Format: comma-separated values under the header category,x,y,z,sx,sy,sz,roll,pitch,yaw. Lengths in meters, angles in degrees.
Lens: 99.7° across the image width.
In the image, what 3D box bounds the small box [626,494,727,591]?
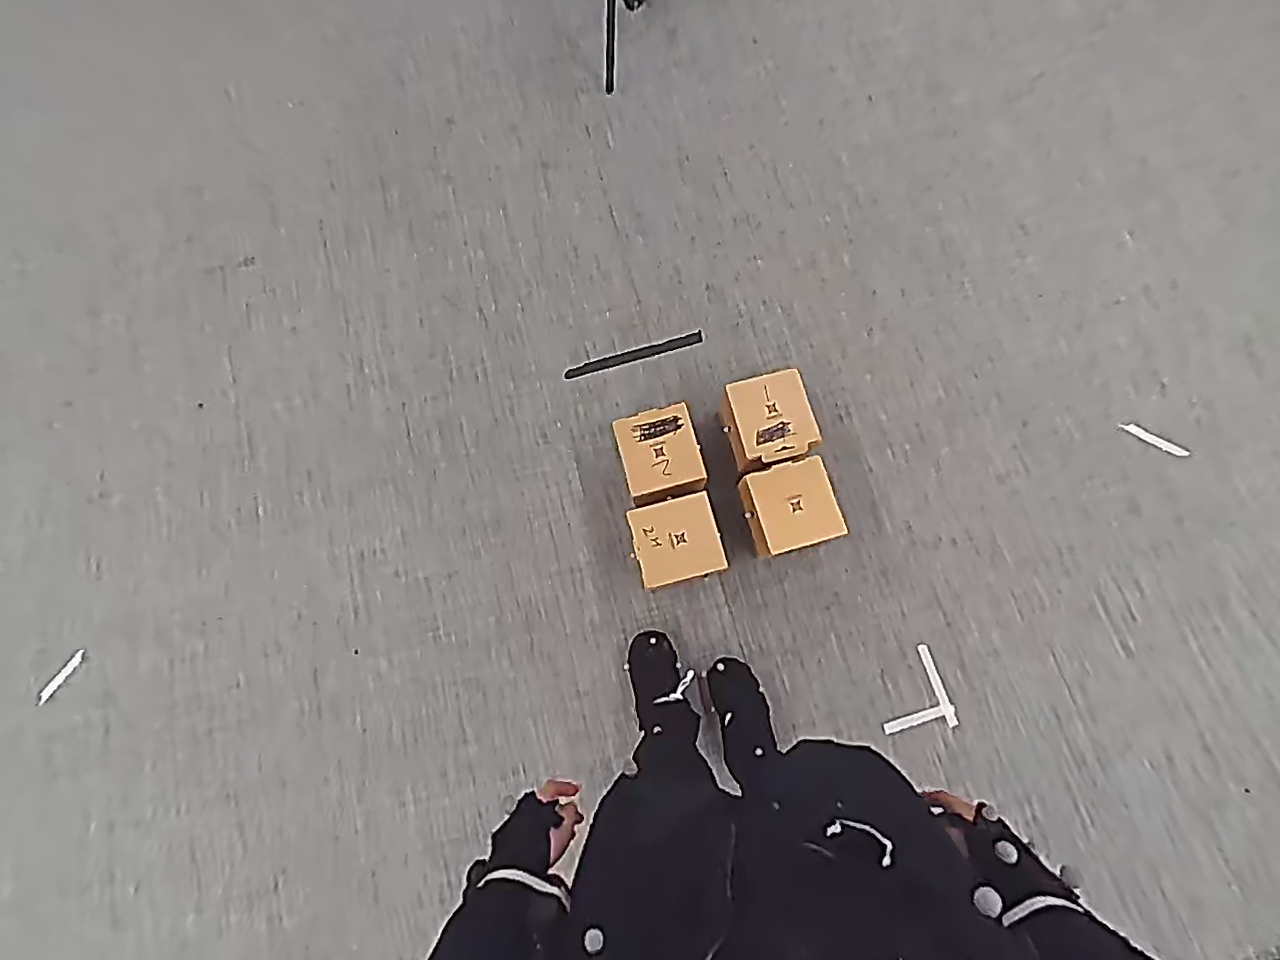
category,x,y,z,sx,sy,sz,roll,pitch,yaw
small box,0.073,0.141,1.174,0.179,0.176,0.168,-14,77,-1
